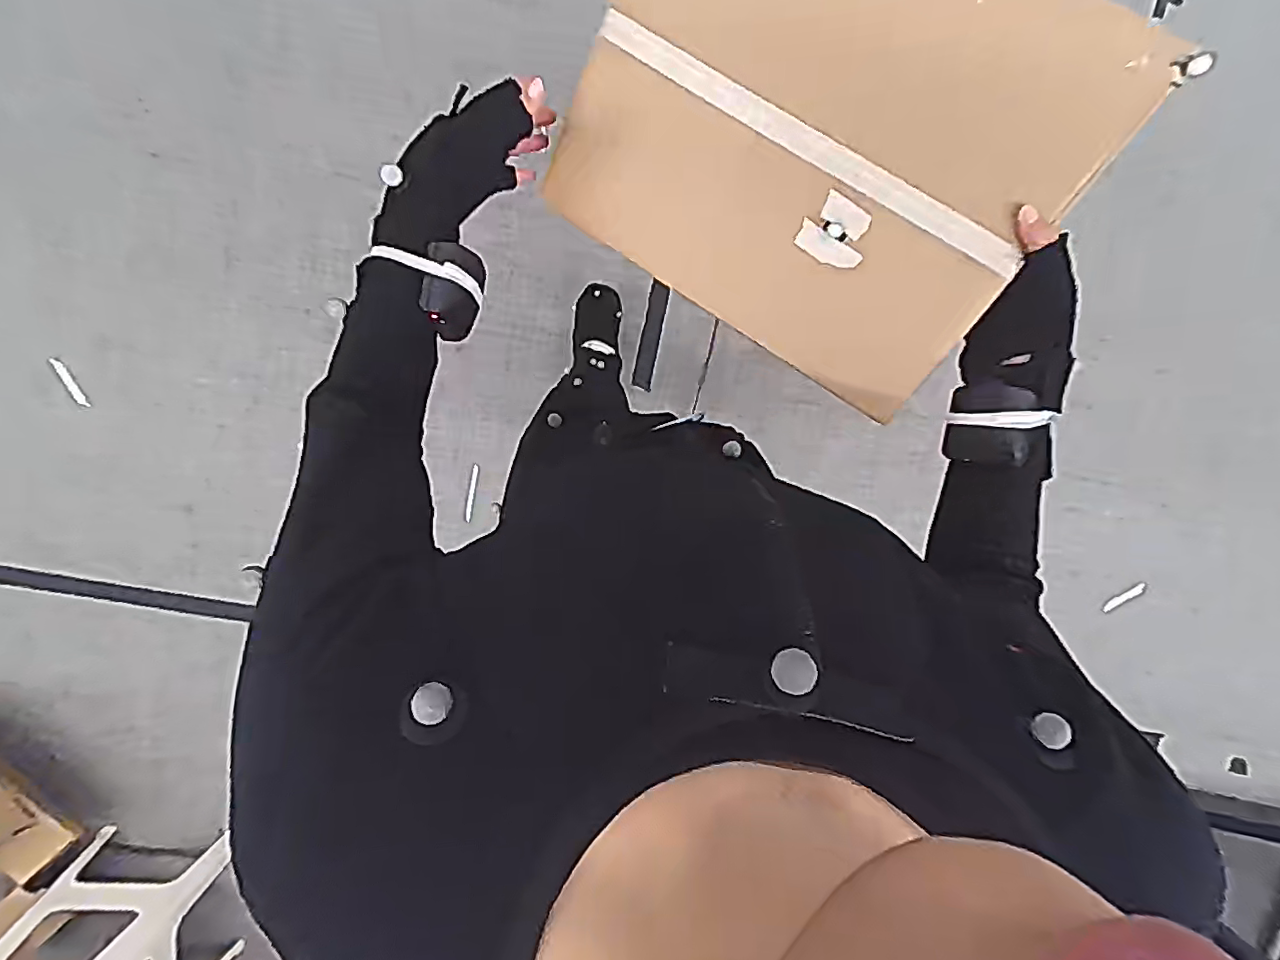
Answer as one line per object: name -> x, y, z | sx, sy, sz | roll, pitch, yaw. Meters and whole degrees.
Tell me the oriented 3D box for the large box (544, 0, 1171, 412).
large box -> 0.179, -0.335, 0.589 | 0.408, 0.320, 0.320 | 34, 118, 4
